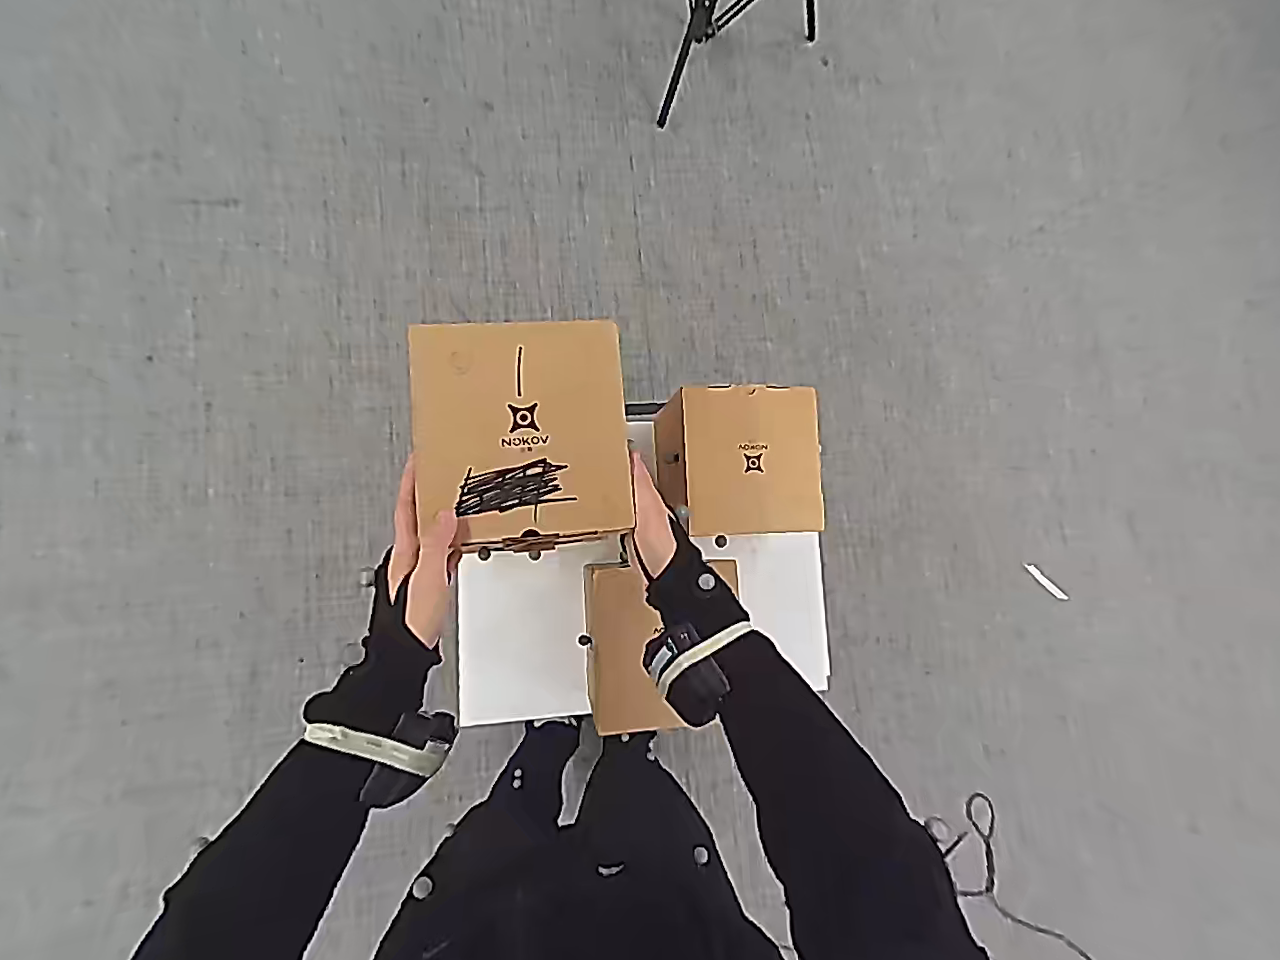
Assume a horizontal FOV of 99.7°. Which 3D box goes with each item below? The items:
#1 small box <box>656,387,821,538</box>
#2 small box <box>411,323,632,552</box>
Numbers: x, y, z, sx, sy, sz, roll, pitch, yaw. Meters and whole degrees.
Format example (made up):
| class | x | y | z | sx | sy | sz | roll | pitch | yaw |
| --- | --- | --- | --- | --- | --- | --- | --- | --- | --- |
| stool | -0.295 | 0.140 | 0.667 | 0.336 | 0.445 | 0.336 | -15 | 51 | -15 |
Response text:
| class | x | y | z | sx | sy | sz | roll | pitch | yaw |
| --- | --- | --- | --- | --- | --- | --- | --- | --- | --- |
| small box | 0.118 | -0.015 | 0.709 | 0.168 | 0.176 | 0.179 | -2 | 83 | -9 |
| small box | -0.104 | -0.029 | 0.504 | 0.168 | 0.176 | 0.179 | -5 | 84 | -10 |
